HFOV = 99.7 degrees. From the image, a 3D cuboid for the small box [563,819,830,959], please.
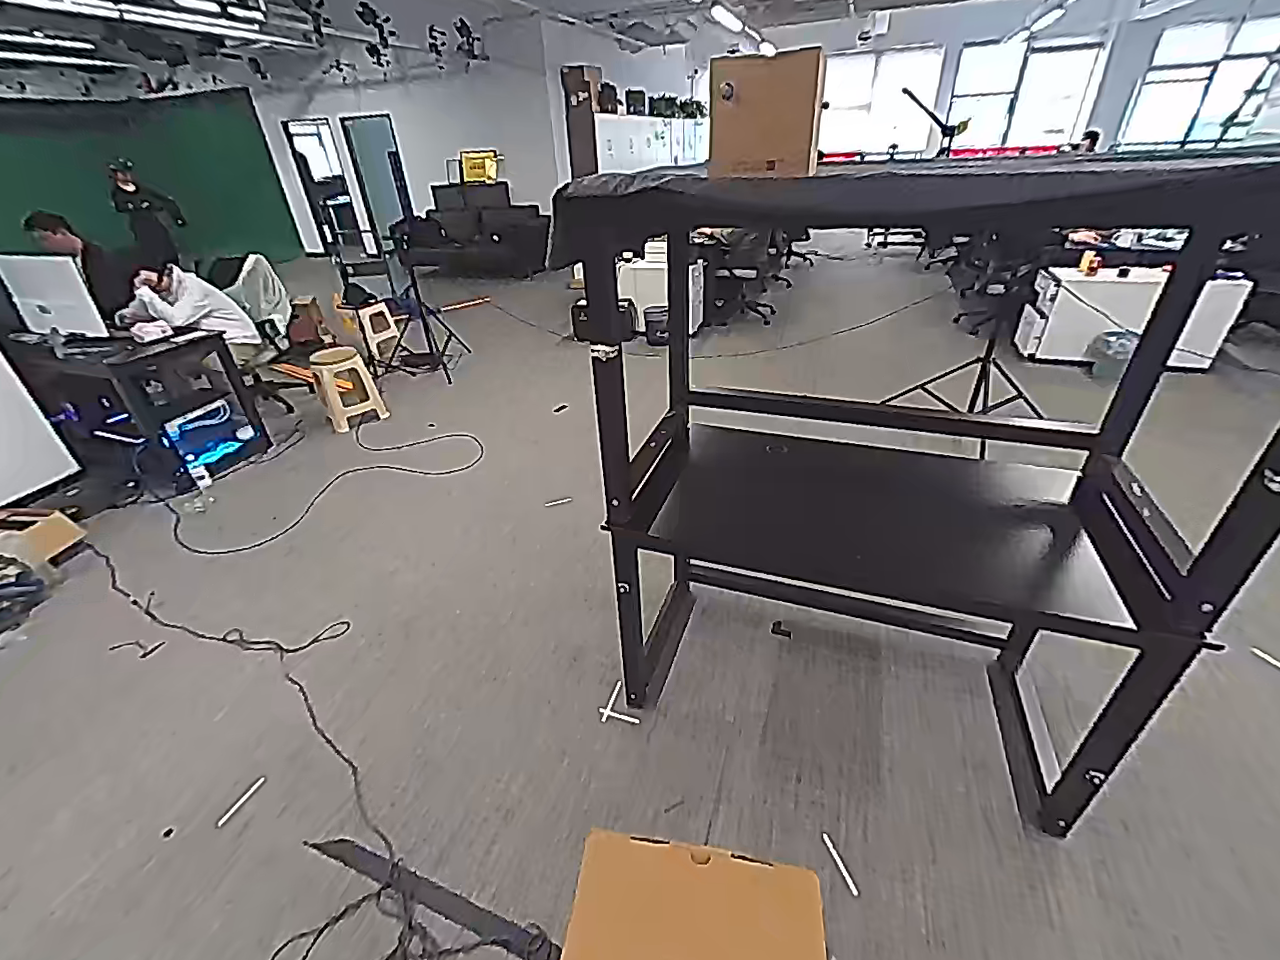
[{"bbox_3d":[0.032,0.373,0.363,0.168,0.176,0.179,6,33,8],"label":"small box"}]
